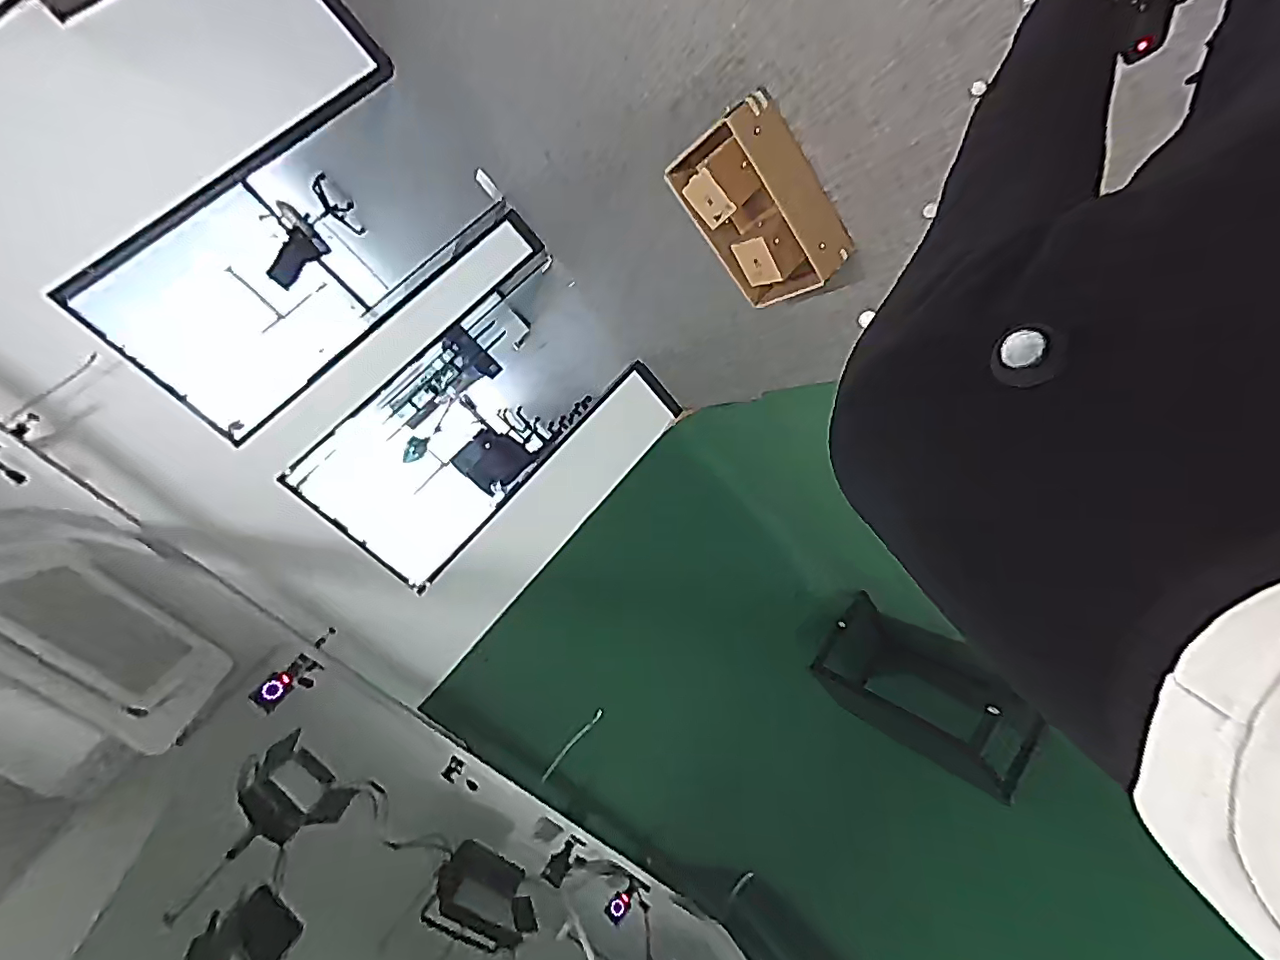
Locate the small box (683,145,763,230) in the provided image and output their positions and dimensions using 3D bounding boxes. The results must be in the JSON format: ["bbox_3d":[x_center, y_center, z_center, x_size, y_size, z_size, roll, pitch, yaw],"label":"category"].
[{"bbox_3d":[0.290,-1.023,1.881,0.179,0.176,0.168,46,164,-17],"label":"small box"}]
